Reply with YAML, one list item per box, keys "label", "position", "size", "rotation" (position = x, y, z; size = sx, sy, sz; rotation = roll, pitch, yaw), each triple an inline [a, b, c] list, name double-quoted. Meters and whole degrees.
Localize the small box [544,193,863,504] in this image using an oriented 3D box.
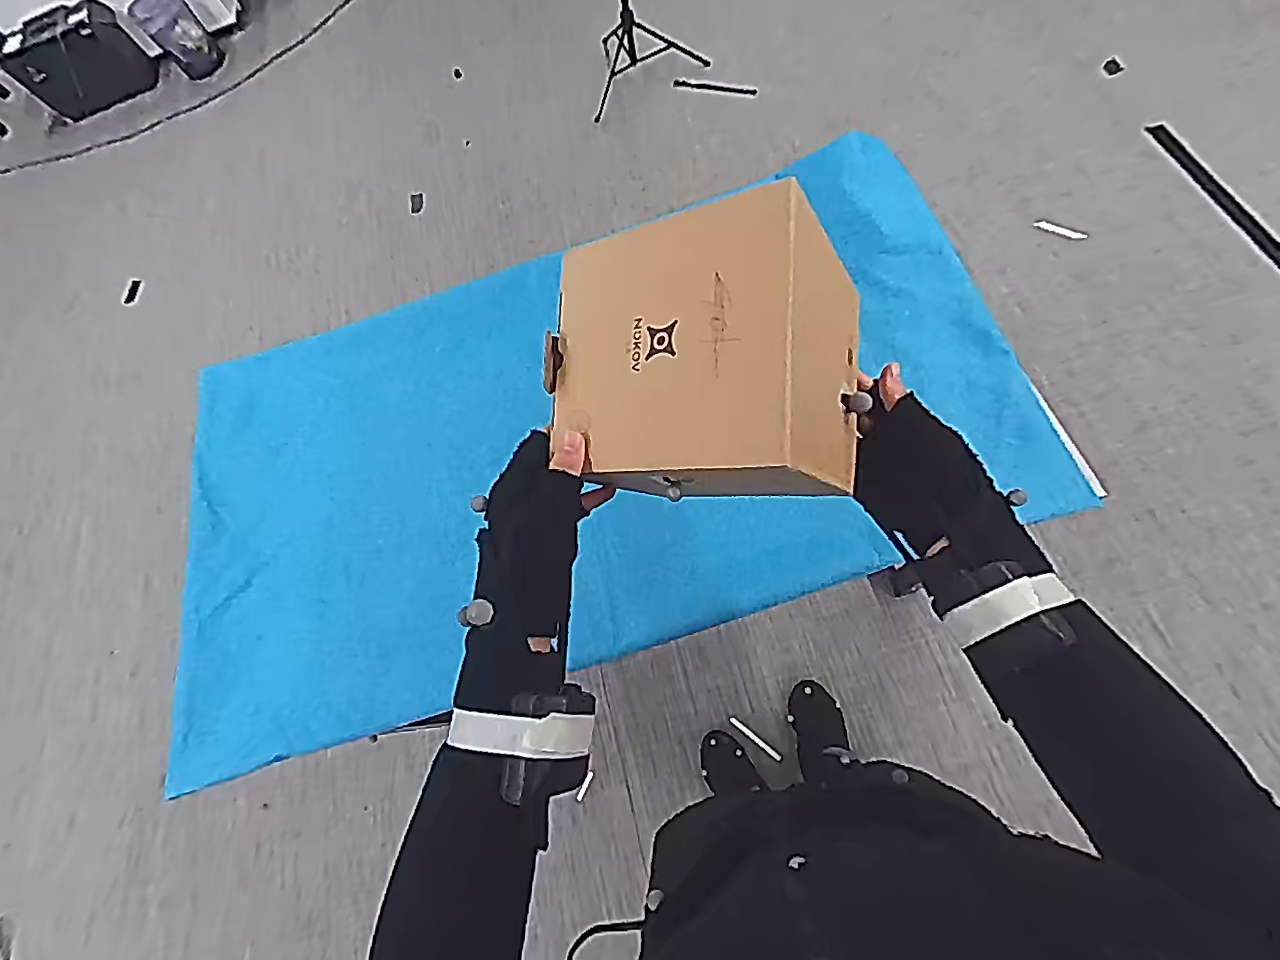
- label: "small box"
  position: [0.053, -0.070, 0.405]
  size: [0.179, 0.176, 0.168]
  rotation: [-1, 84, 35]
